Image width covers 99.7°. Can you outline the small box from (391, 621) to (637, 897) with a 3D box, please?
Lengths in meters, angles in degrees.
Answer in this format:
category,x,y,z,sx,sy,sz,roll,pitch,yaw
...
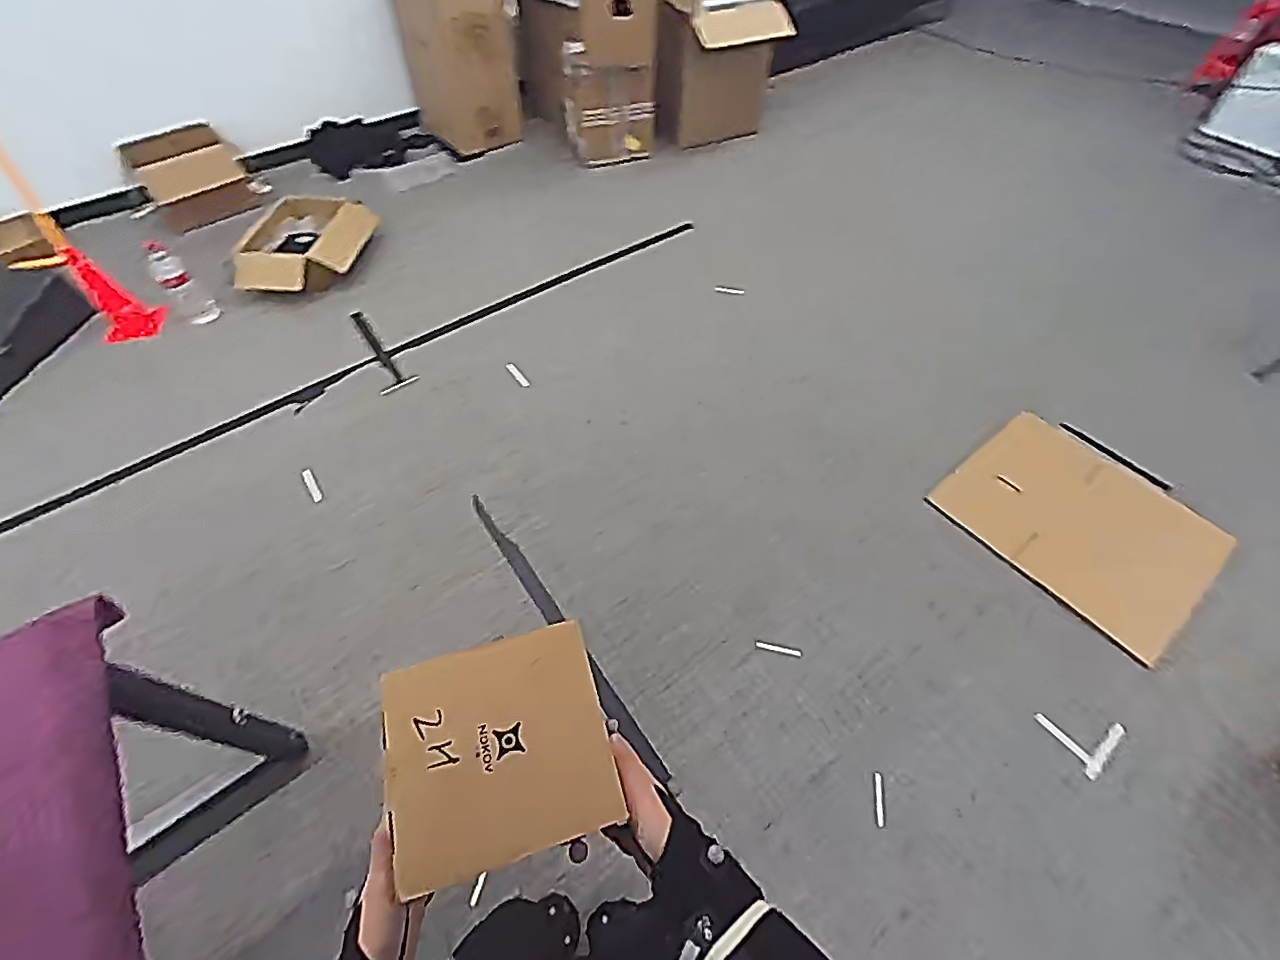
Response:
category,x,y,z,sx,sy,sz,roll,pitch,yaw
small box,-0.113,0.252,0.507,0.179,0.176,0.168,-13,61,-12
